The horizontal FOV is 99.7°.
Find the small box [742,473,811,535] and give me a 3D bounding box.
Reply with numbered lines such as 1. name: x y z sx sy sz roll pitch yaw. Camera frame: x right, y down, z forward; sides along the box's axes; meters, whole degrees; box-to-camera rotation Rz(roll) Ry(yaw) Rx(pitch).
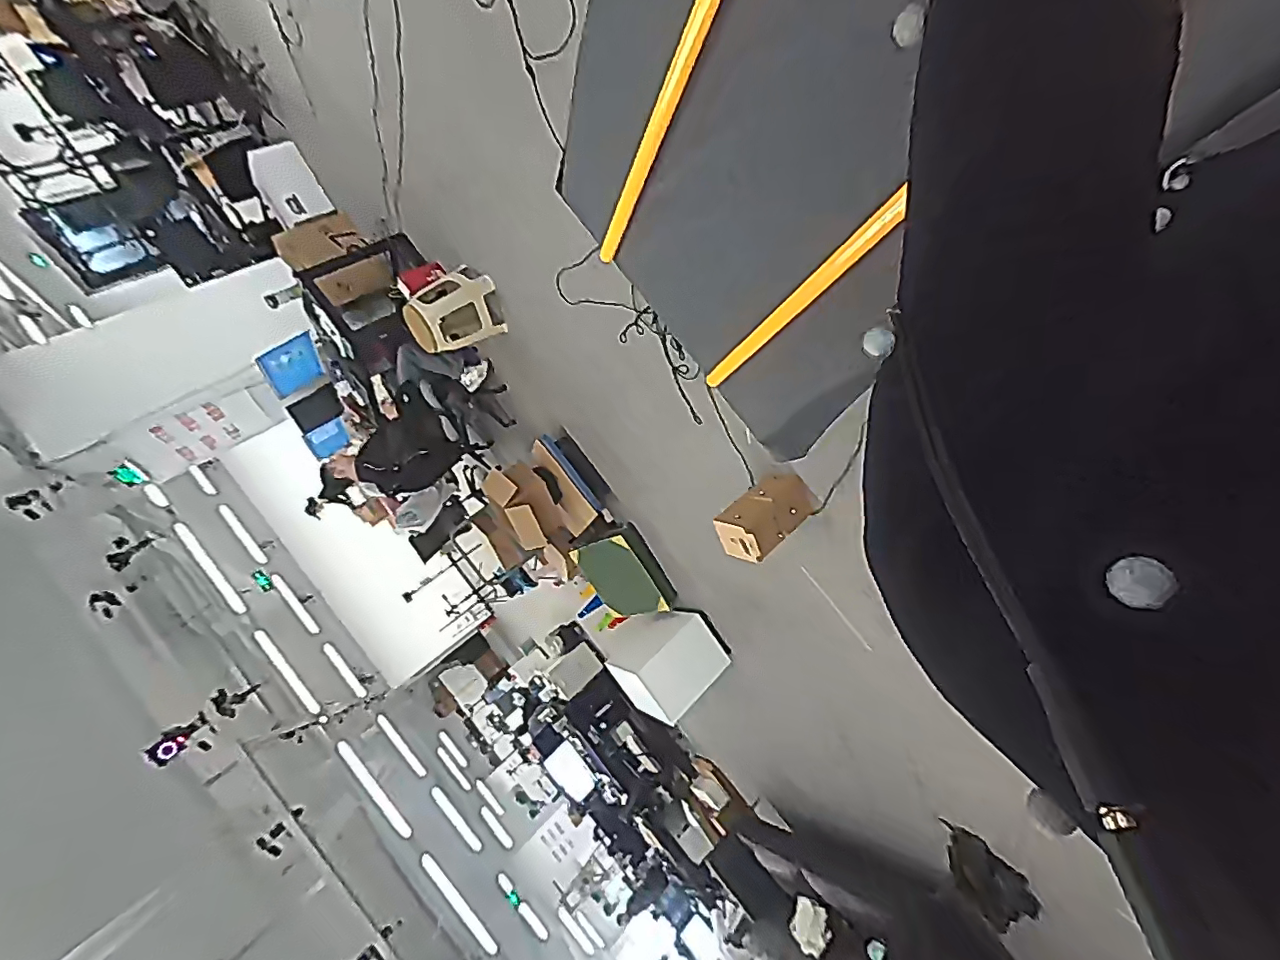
1. small box: 0.540 0.091 2.119 0.168 0.176 0.179 2 124 58

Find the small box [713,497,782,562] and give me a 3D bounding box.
1. small box: 0.417 0.182 2.056 0.179 0.176 0.168 10 130 55
